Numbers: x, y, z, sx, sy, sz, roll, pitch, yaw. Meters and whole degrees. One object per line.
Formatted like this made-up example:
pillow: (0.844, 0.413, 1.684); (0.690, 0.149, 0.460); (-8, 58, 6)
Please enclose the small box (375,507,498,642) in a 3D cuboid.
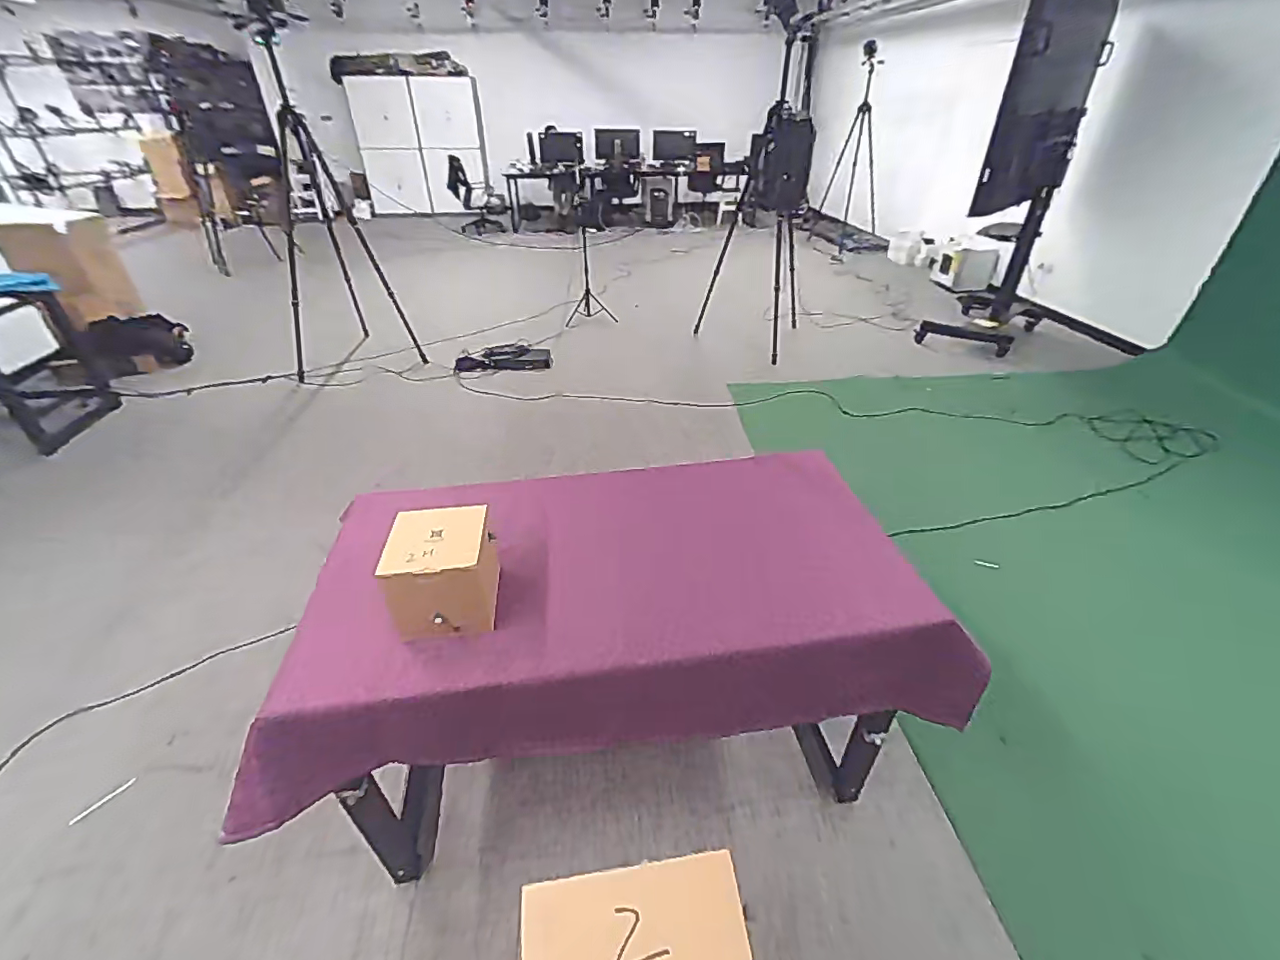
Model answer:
small box: (-0.363, 0.172, 1.002); (0.168, 0.176, 0.179); (-5, 35, -6)
